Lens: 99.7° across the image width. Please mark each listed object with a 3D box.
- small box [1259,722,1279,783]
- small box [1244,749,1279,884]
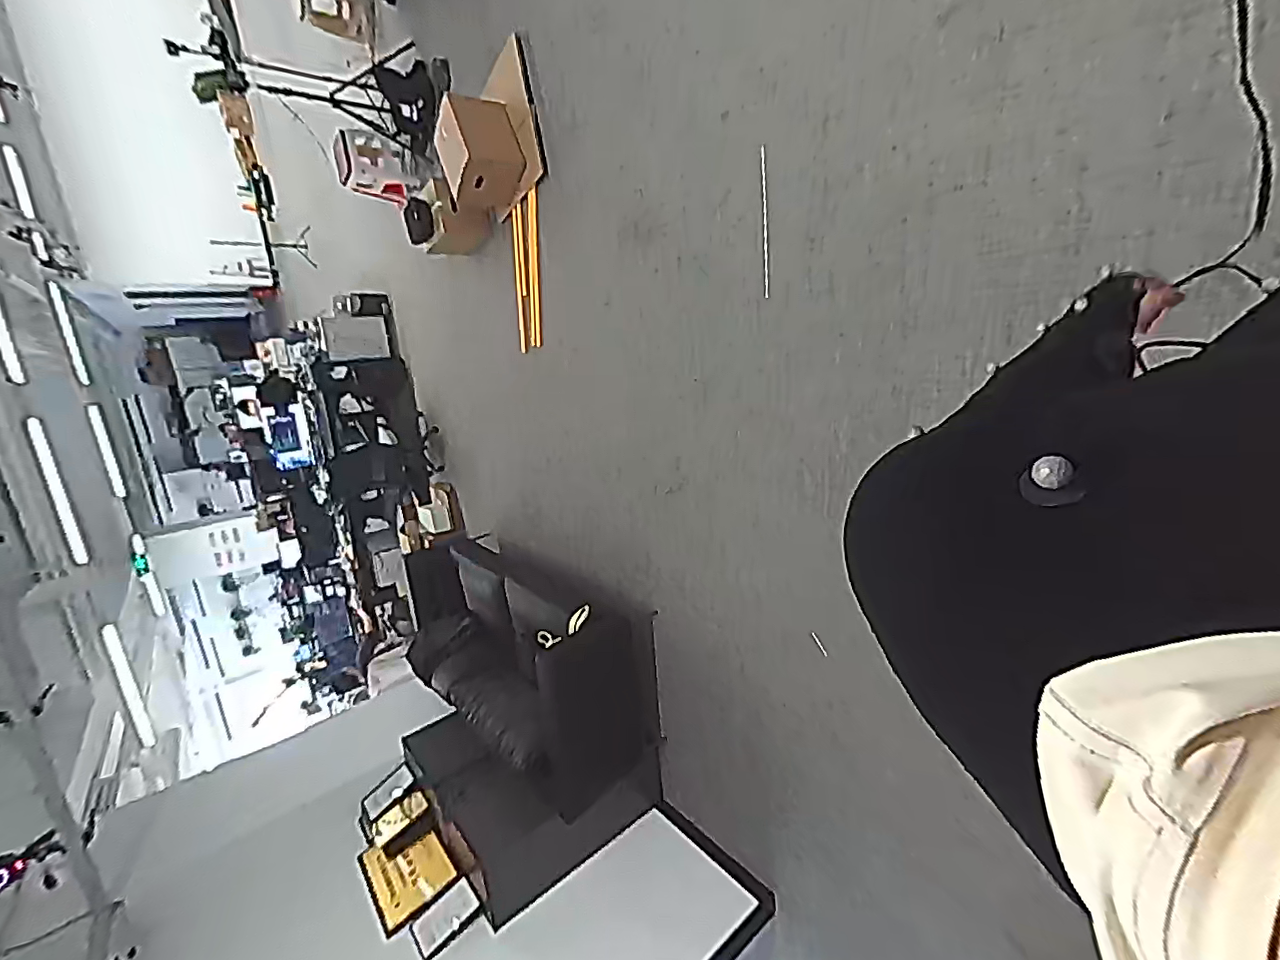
[{"bbox_3d":[1.336,0.581,1.039,0.168,0.176,0.179,18,116,47],"label":"small box"},{"bbox_3d":[1.205,0.617,0.946,0.168,0.176,0.179,18,118,47],"label":"small box"}]
